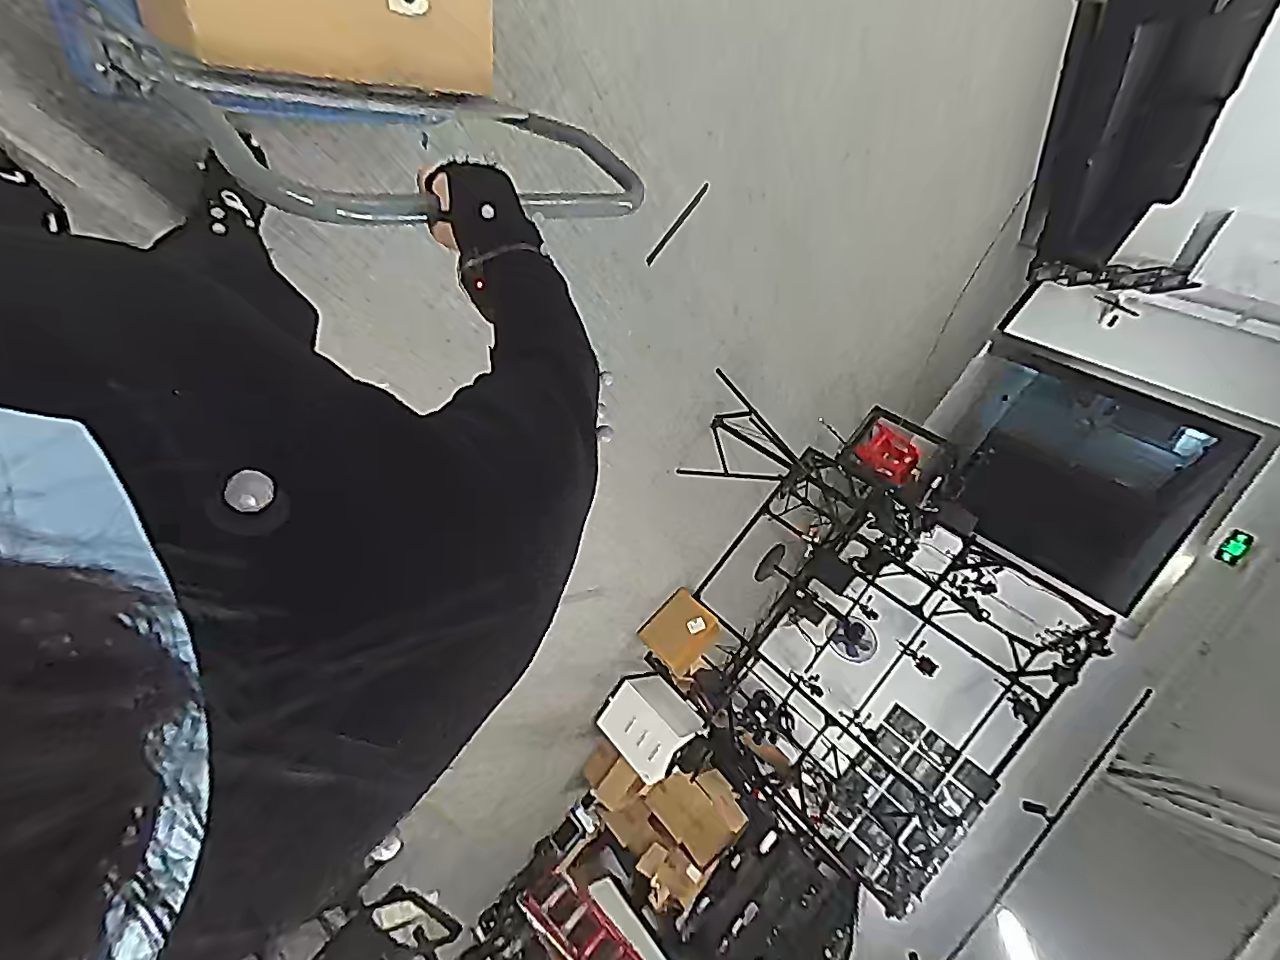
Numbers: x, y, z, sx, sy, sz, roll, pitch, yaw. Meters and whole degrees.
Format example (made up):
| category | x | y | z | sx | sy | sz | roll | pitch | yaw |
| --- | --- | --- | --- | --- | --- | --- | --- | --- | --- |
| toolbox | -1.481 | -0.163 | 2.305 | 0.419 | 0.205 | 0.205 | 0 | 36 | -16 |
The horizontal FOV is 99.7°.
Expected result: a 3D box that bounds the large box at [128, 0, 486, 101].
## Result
| category | x | y | z | sx | sy | sz | roll | pitch | yaw |
| --- | --- | --- | --- | --- | --- | --- | --- | --- | --- |
| large box | -0.481 | -0.754 | 0.762 | 0.408 | 0.320 | 0.320 | -26 | 140 | -38 |
